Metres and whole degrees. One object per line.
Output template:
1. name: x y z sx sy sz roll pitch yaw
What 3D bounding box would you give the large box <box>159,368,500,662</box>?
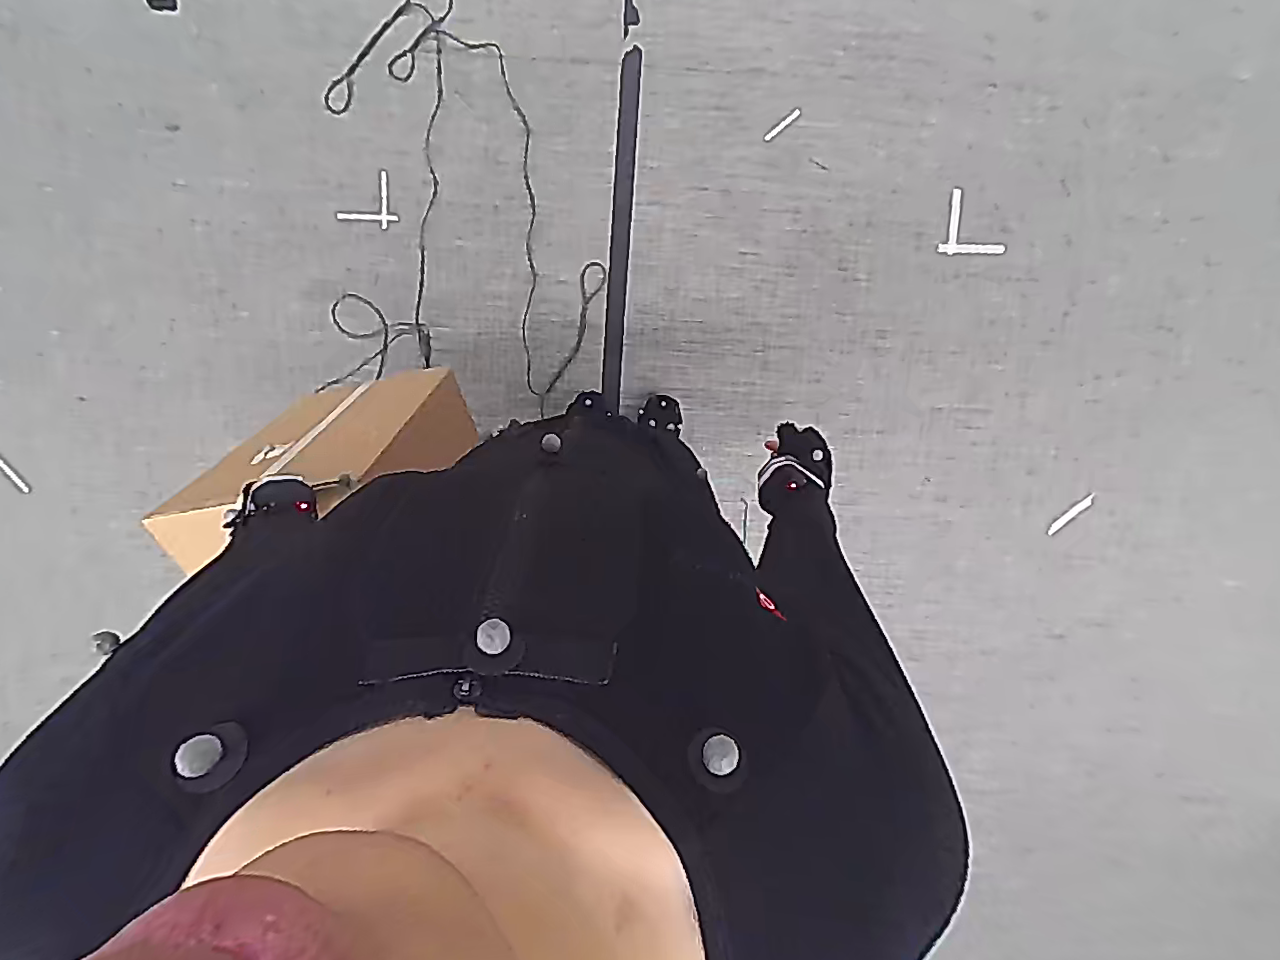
1. large box: -0.473 0.044 0.953 0.320 0.408 0.320 -11 123 6
